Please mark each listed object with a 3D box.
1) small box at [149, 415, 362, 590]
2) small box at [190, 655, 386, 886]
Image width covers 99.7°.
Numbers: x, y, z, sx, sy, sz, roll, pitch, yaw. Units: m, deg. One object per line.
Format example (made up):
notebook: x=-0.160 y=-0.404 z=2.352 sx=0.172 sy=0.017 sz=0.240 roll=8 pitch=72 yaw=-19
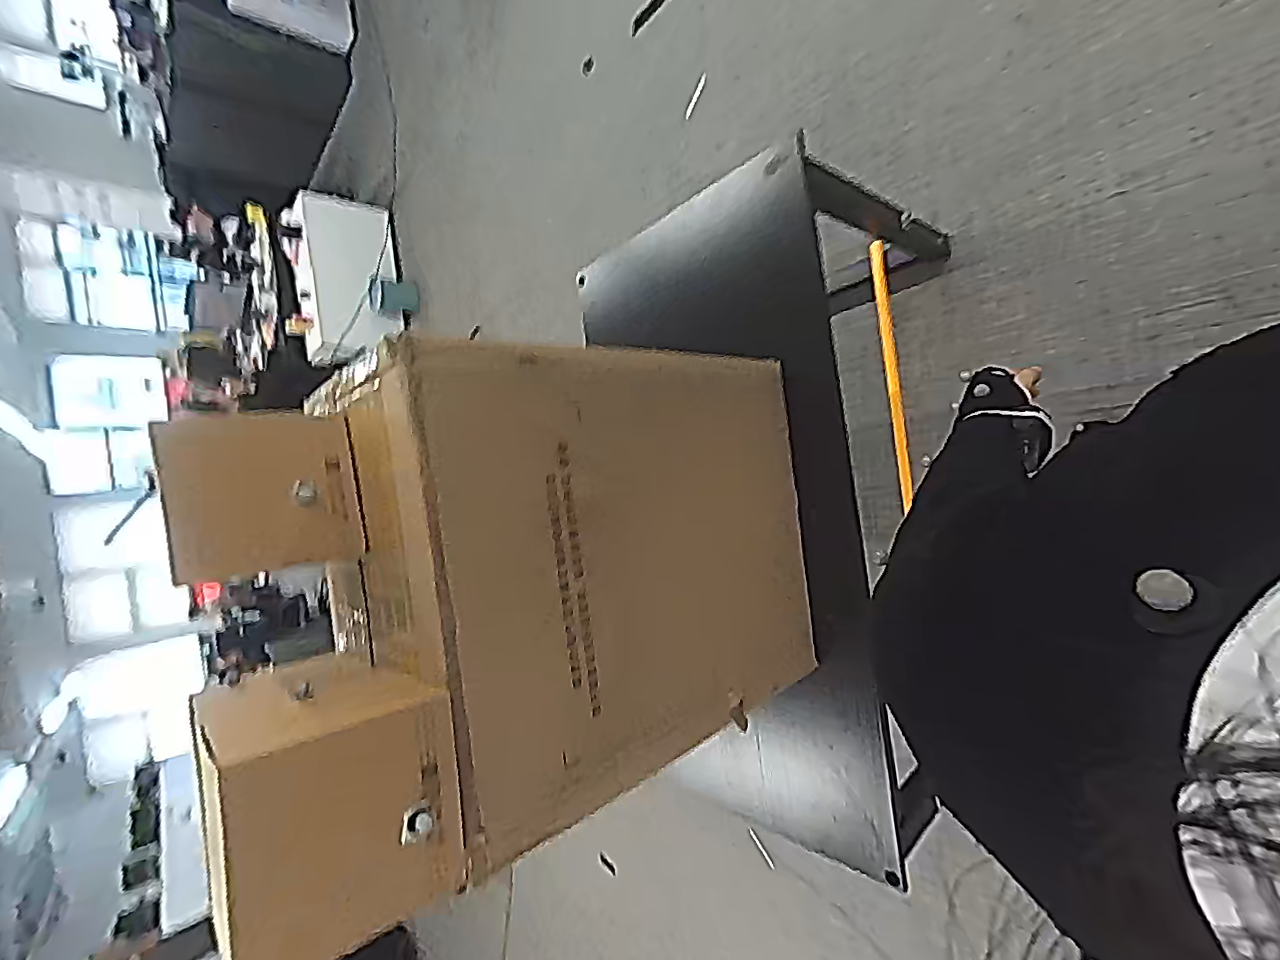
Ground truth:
small box: x=-0.434 y=0.024 z=0.618 sx=0.179 sy=0.176 sz=0.168 roll=-12 pitch=88 yaw=49
small box: x=-0.415 y=0.318 z=0.640 sx=0.179 sy=0.176 sz=0.168 roll=-11 pitch=87 yaw=50
